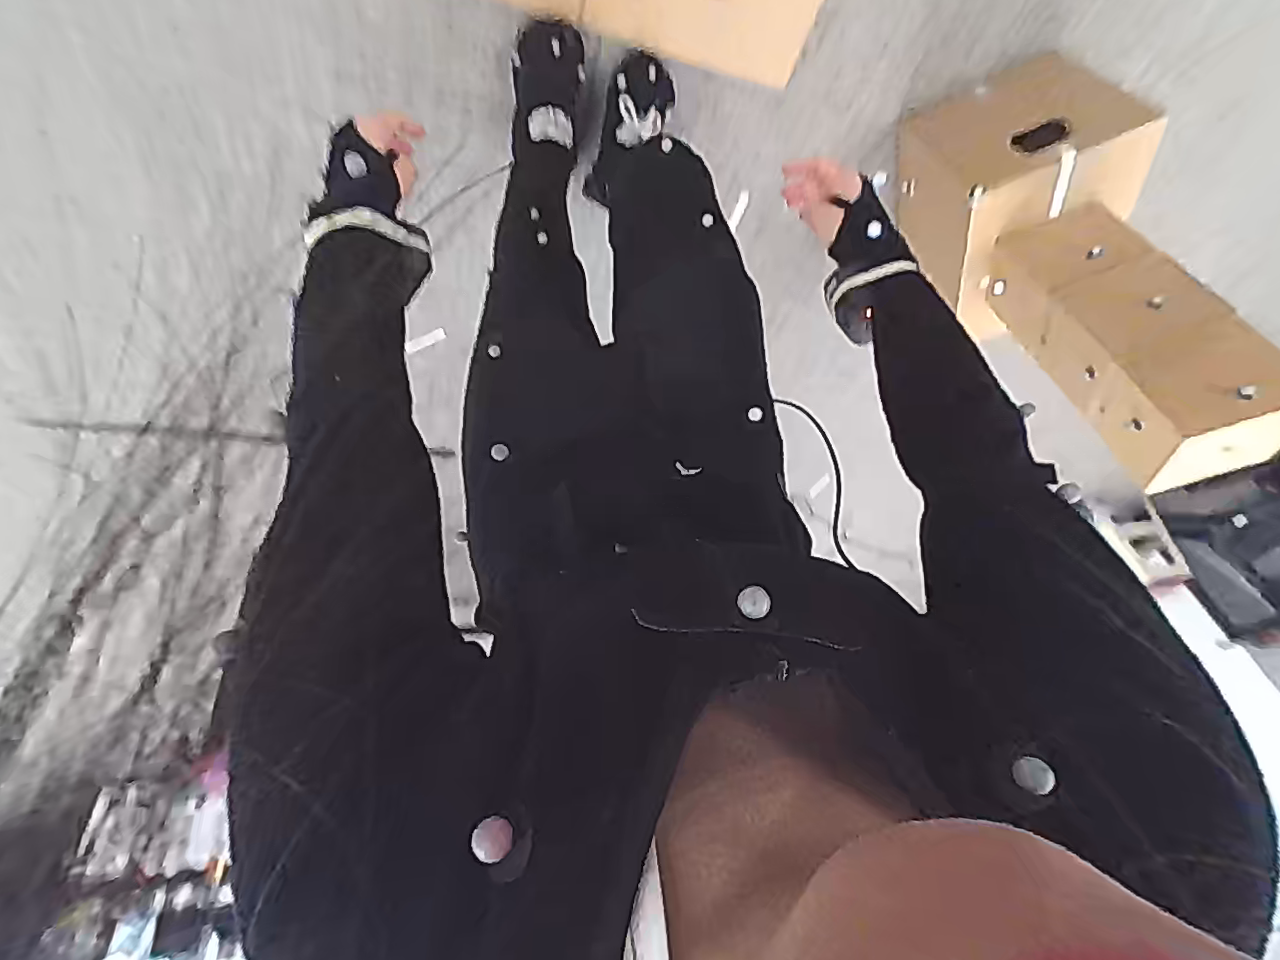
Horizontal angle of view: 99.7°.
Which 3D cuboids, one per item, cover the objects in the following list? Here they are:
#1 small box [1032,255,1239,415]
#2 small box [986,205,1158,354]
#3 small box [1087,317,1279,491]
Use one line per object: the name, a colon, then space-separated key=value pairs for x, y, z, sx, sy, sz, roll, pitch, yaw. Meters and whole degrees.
small box: x=0.825 y=-0.249 z=0.926 sx=0.179 sy=0.176 sz=0.168 roll=-21 pitch=144 yaw=13
small box: x=0.796 y=-0.380 z=1.021 sx=0.179 sy=0.176 sz=0.168 roll=-20 pitch=144 yaw=13
small box: x=0.850 y=-0.115 z=0.836 sx=0.179 sy=0.176 sz=0.168 roll=-21 pitch=144 yaw=13
